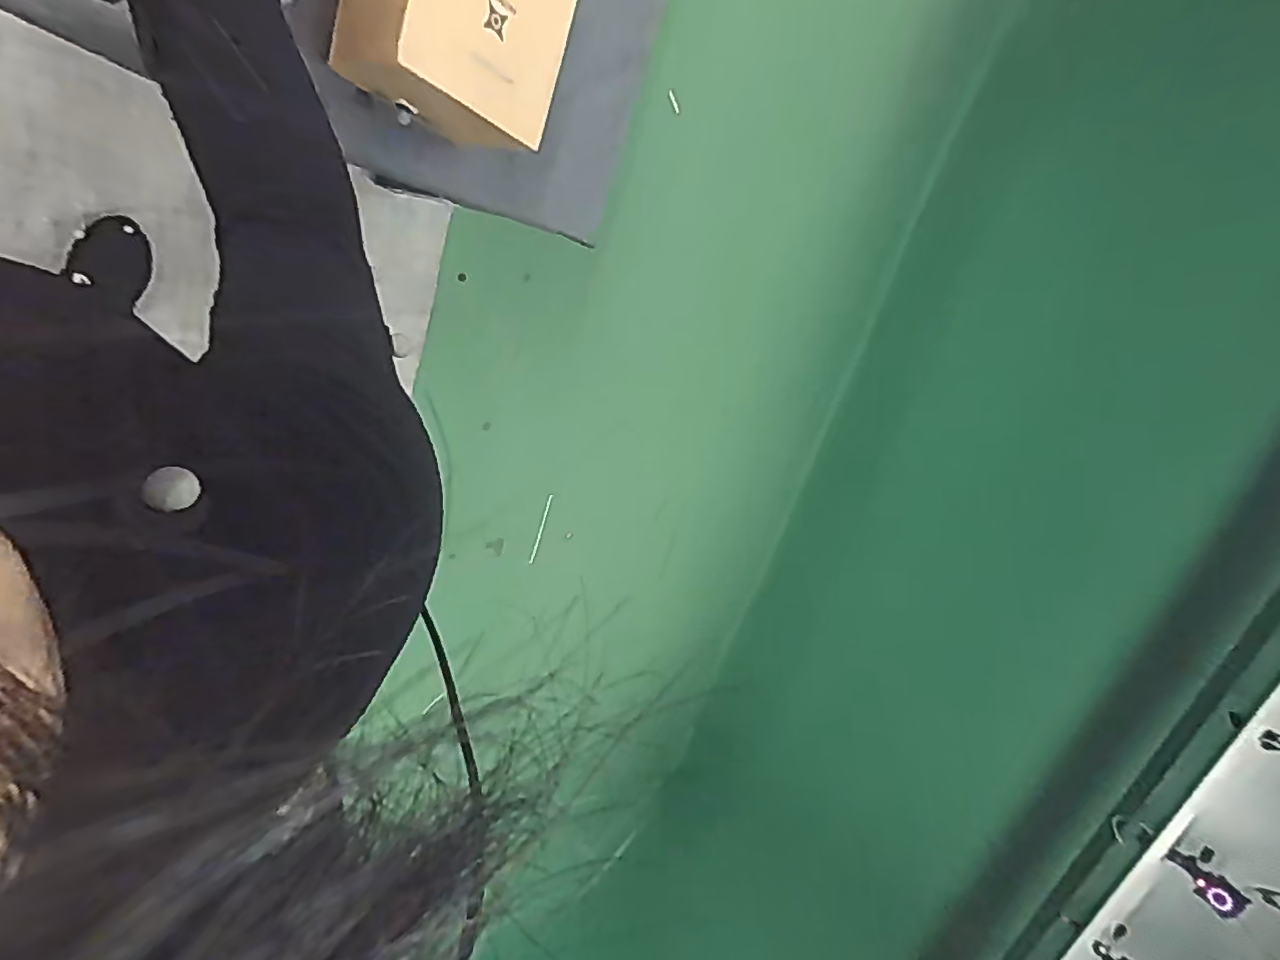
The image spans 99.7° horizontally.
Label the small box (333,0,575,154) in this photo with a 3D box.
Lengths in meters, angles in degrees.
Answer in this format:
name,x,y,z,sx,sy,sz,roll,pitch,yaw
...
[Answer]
name,x,y,z,sx,sy,sz,roll,pitch,yaw
small box,-0.199,-0.478,0.572,0.168,0.176,0.179,3,111,-51
